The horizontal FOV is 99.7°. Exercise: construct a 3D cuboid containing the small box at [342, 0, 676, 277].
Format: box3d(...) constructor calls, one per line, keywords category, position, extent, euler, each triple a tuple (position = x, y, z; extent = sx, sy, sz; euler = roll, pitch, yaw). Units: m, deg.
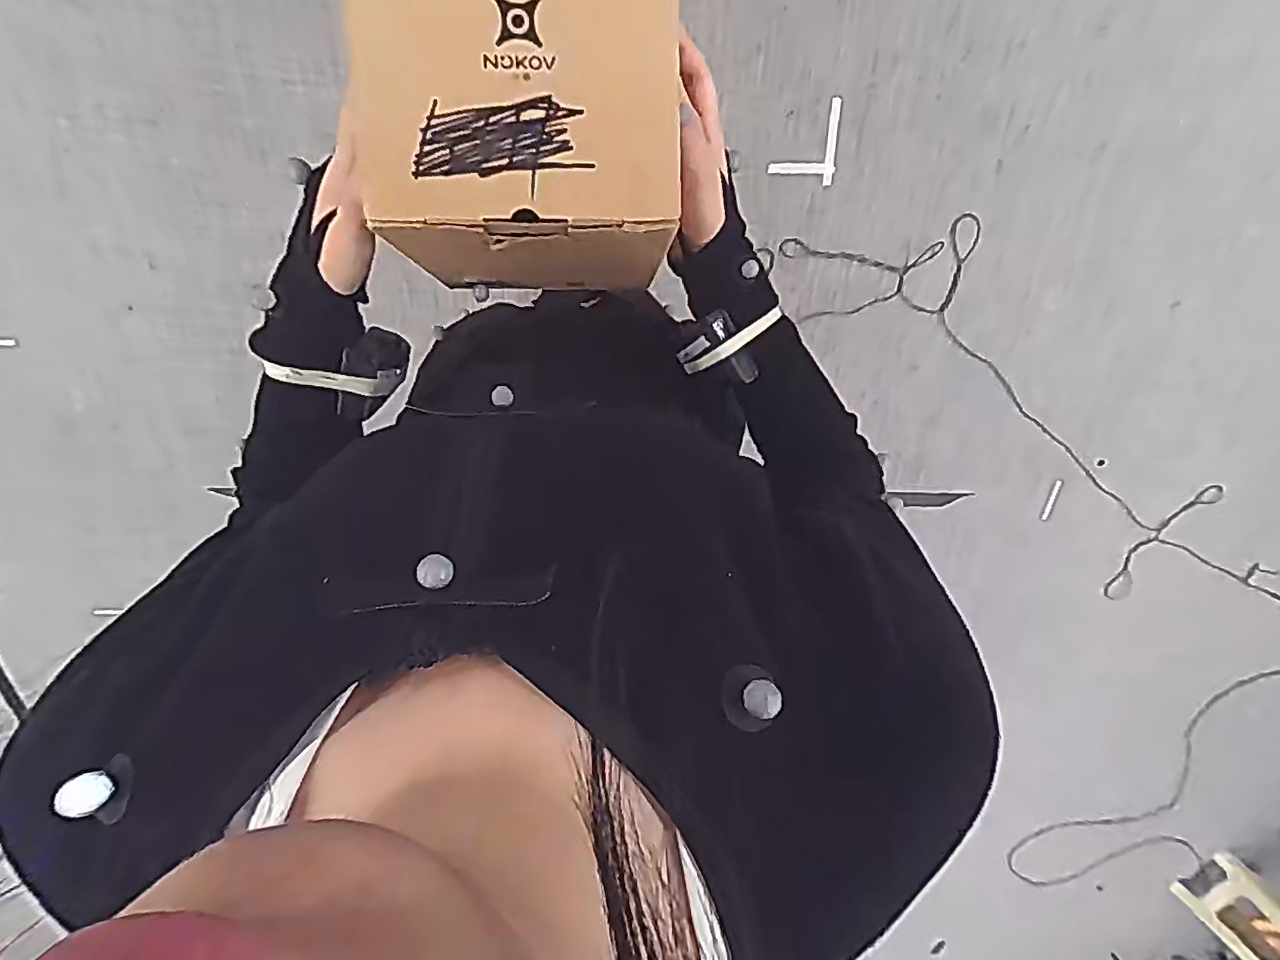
box3d(category="small box", position=(-0.068, -0.235, 0.347), extent=(0.168, 0.176, 0.179), euler=(-2, 98, -5))
